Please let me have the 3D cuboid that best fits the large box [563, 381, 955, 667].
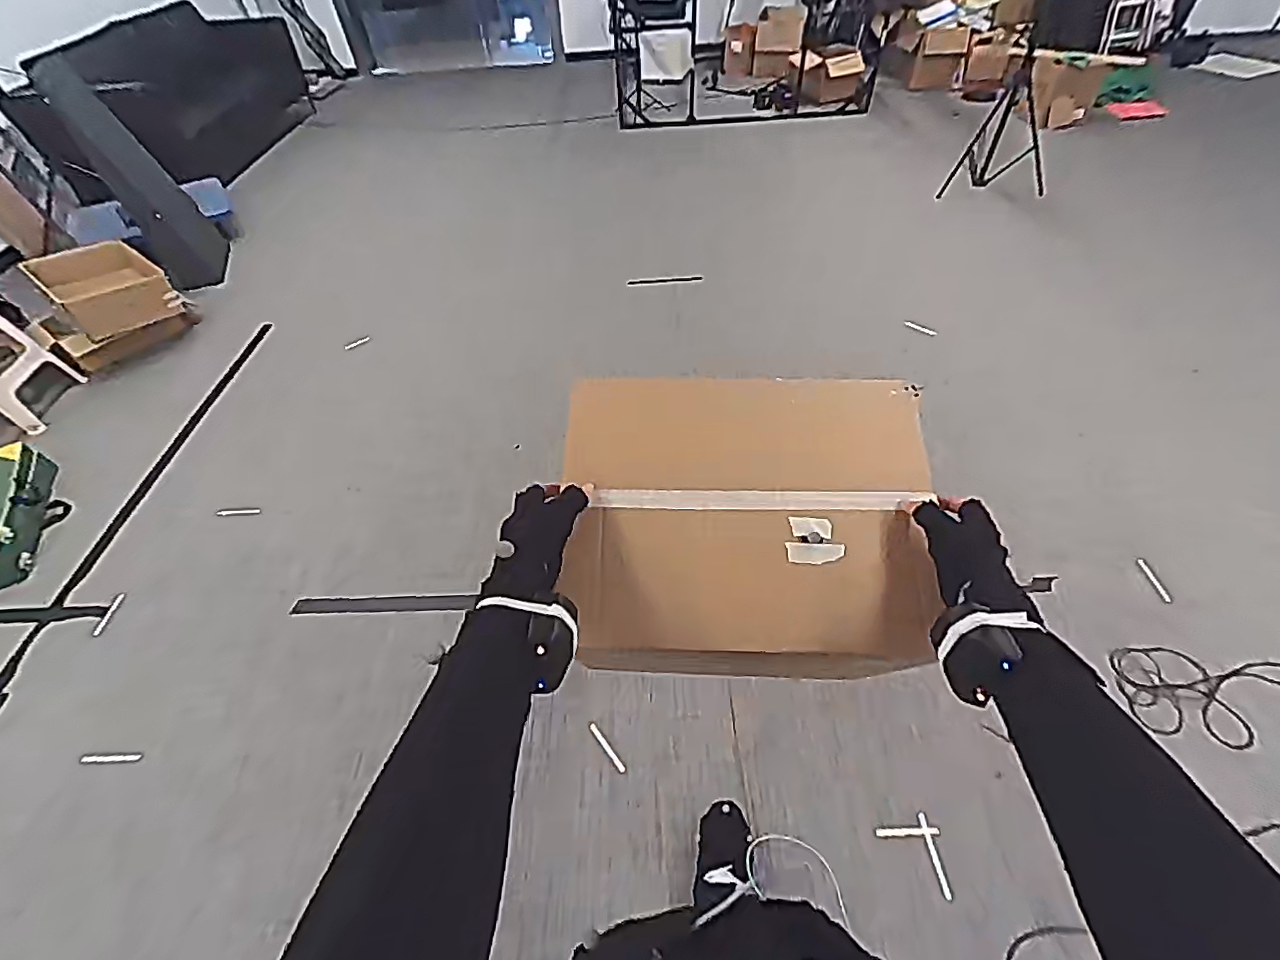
[{"bbox_3d":[0.123,0.080,0.739,0.408,0.320,0.320,1,67,2],"label":"large box"}]
